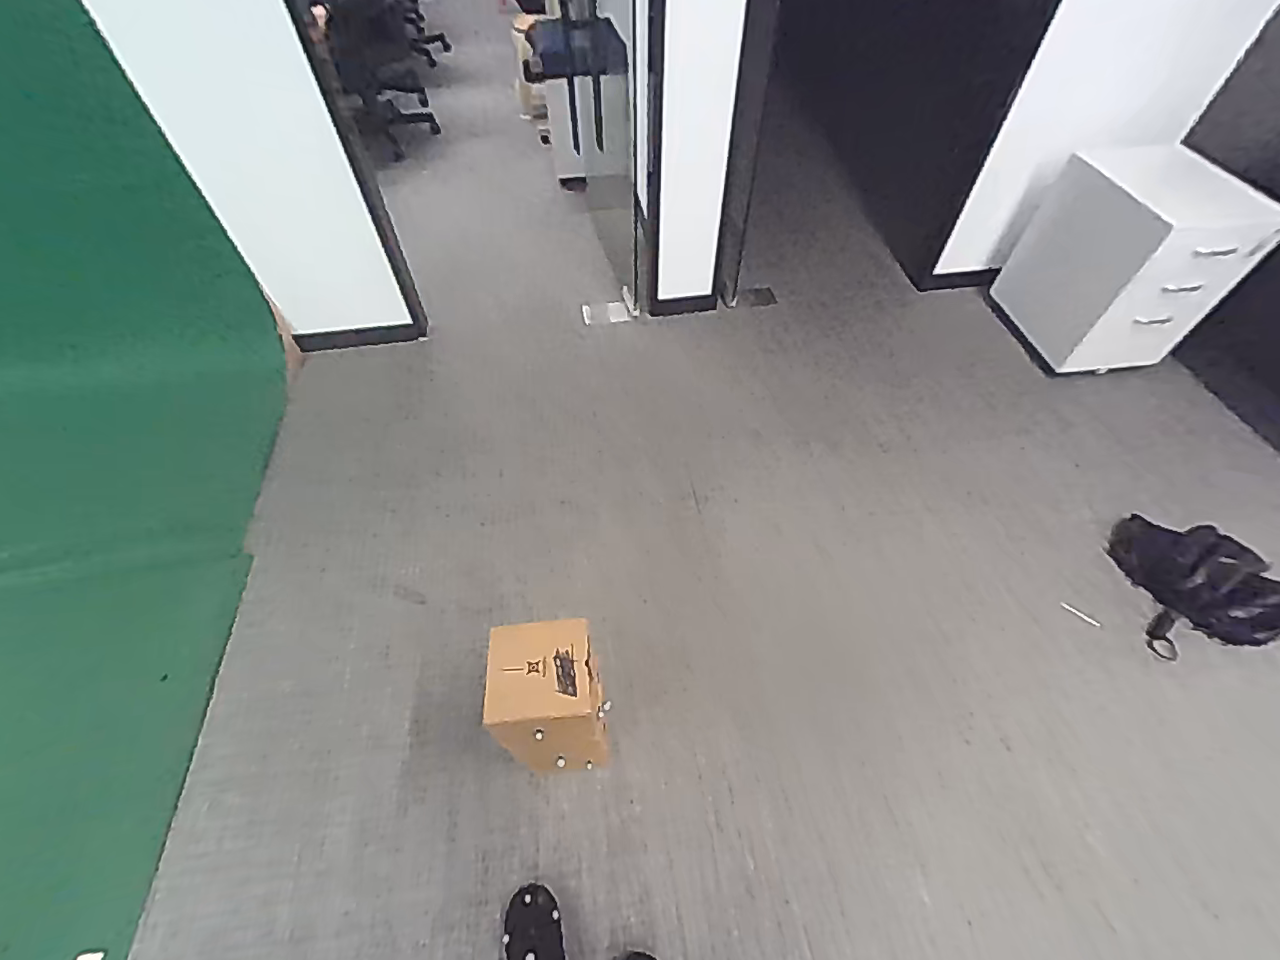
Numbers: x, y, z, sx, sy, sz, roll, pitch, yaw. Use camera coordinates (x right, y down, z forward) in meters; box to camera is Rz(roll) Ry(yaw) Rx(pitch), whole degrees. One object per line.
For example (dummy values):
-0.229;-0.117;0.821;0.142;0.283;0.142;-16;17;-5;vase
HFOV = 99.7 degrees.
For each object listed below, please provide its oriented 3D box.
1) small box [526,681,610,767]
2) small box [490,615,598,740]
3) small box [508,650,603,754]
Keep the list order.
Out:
-0.163;0.554;1.255;0.179;0.176;0.168;-7;53;-3;small box
-0.169;0.362;0.988;0.179;0.176;0.168;-6;54;-6;small box
-0.165;0.462;1.120;0.179;0.176;0.168;-2;53;-2;small box
